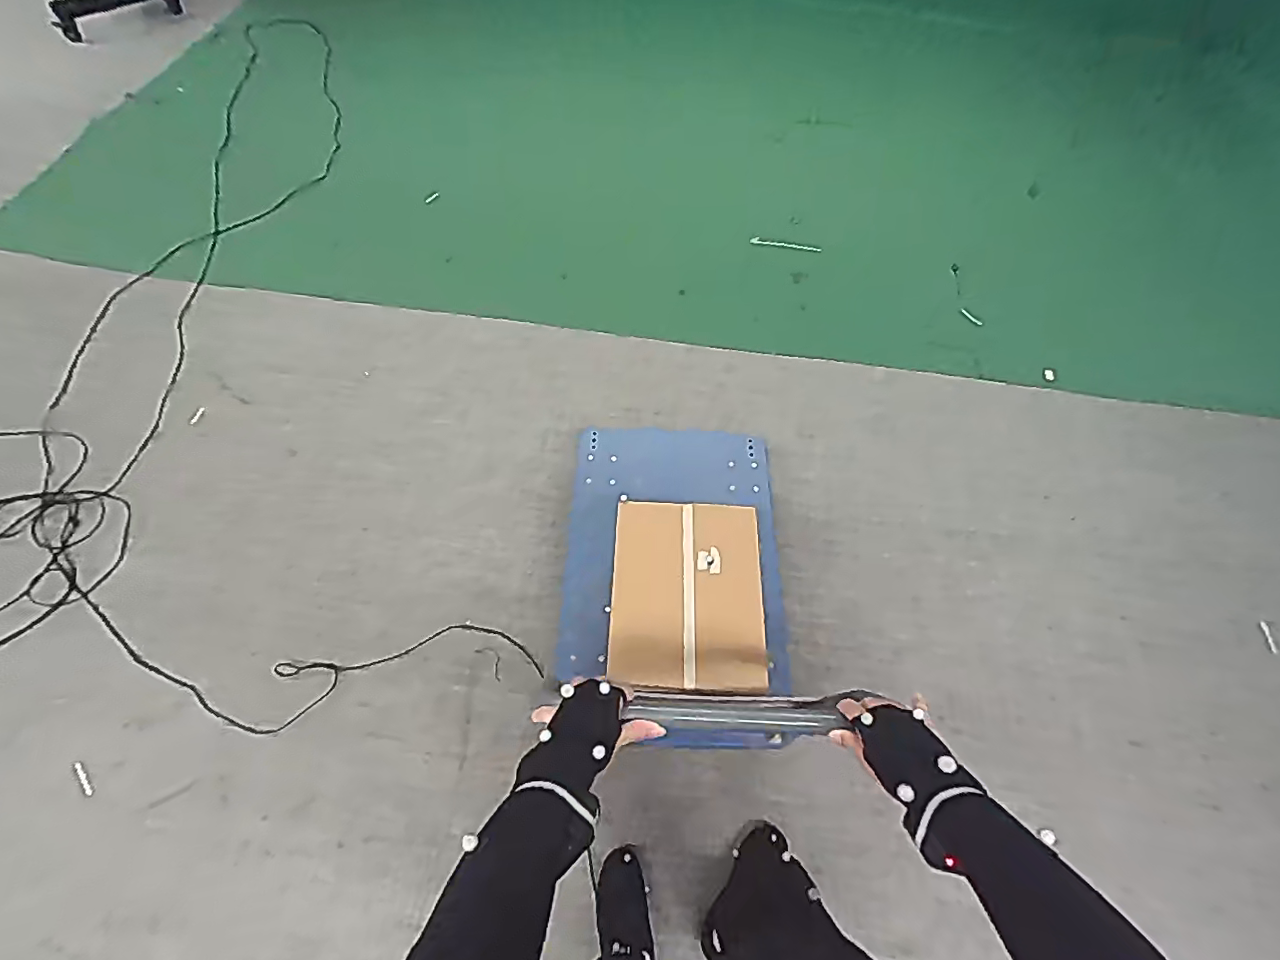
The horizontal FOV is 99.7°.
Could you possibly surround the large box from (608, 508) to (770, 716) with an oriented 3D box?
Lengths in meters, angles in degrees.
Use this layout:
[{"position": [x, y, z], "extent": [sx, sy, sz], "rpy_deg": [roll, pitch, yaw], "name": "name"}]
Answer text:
[{"position": [0.093, 0.313, 1.248], "extent": [0.320, 0.320, 0.408], "rpy_deg": [2, 60, -1], "name": "large box"}]
